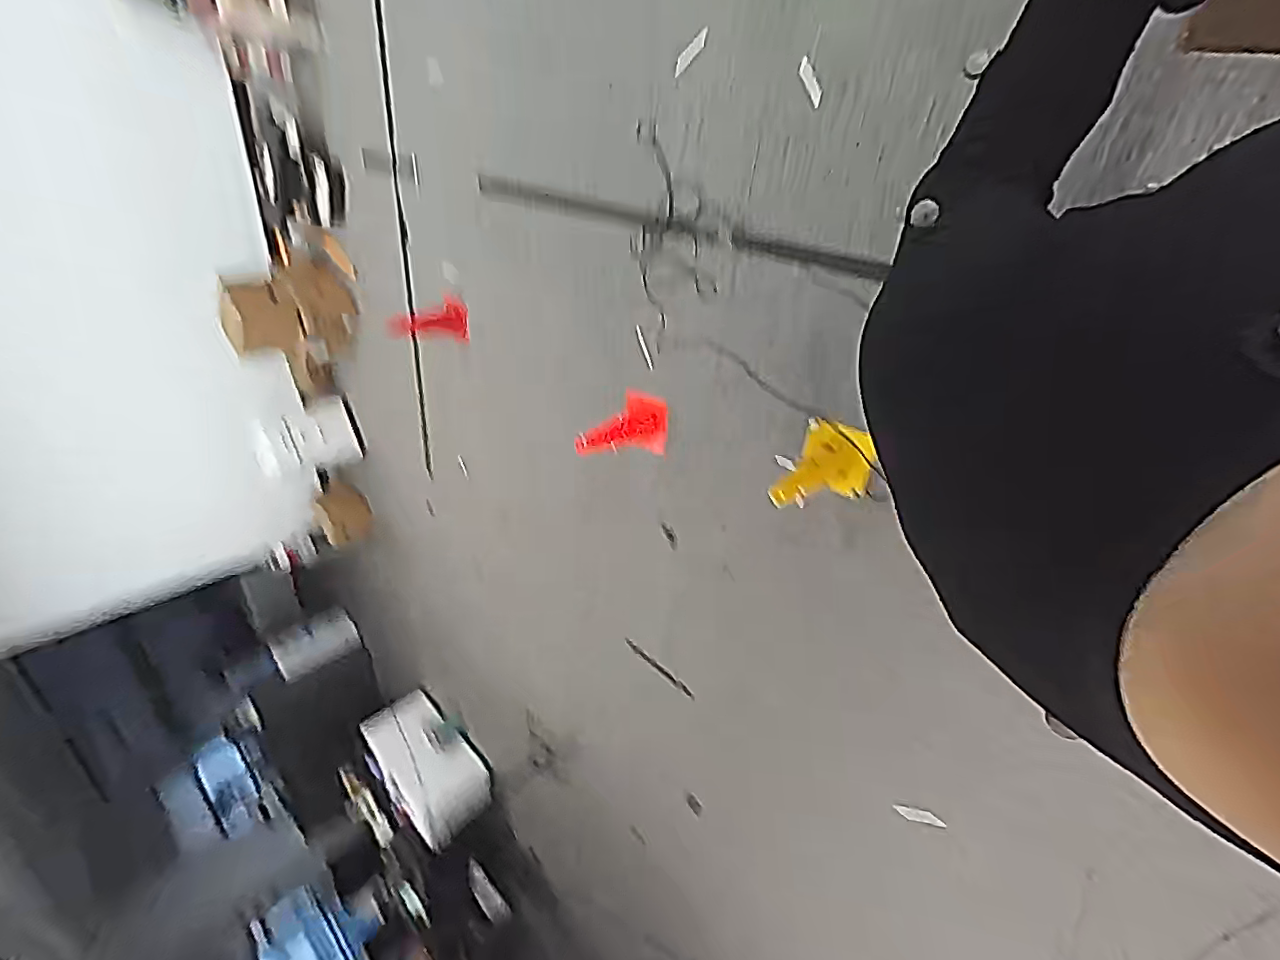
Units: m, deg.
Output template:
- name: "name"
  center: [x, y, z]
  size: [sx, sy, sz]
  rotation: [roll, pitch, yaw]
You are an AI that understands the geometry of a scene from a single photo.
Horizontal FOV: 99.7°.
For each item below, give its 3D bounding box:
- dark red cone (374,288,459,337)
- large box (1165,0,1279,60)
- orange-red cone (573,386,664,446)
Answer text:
- name: "dark red cone"
  center: [-1.066, -0.787, 2.585]
  size: [0.202, 0.394, 0.201]
  rotation: [35, 128, 28]
- name: "large box"
  center: [0.583, -0.417, 0.247]
  size: [0.408, 0.320, 0.320]
  rotation: [27, 127, 29]
- name: "orange-red cone"
  center: [-0.099, -0.191, 1.952]
  size: [0.199, 0.360, 0.198]
  rotation: [26, 126, 32]
